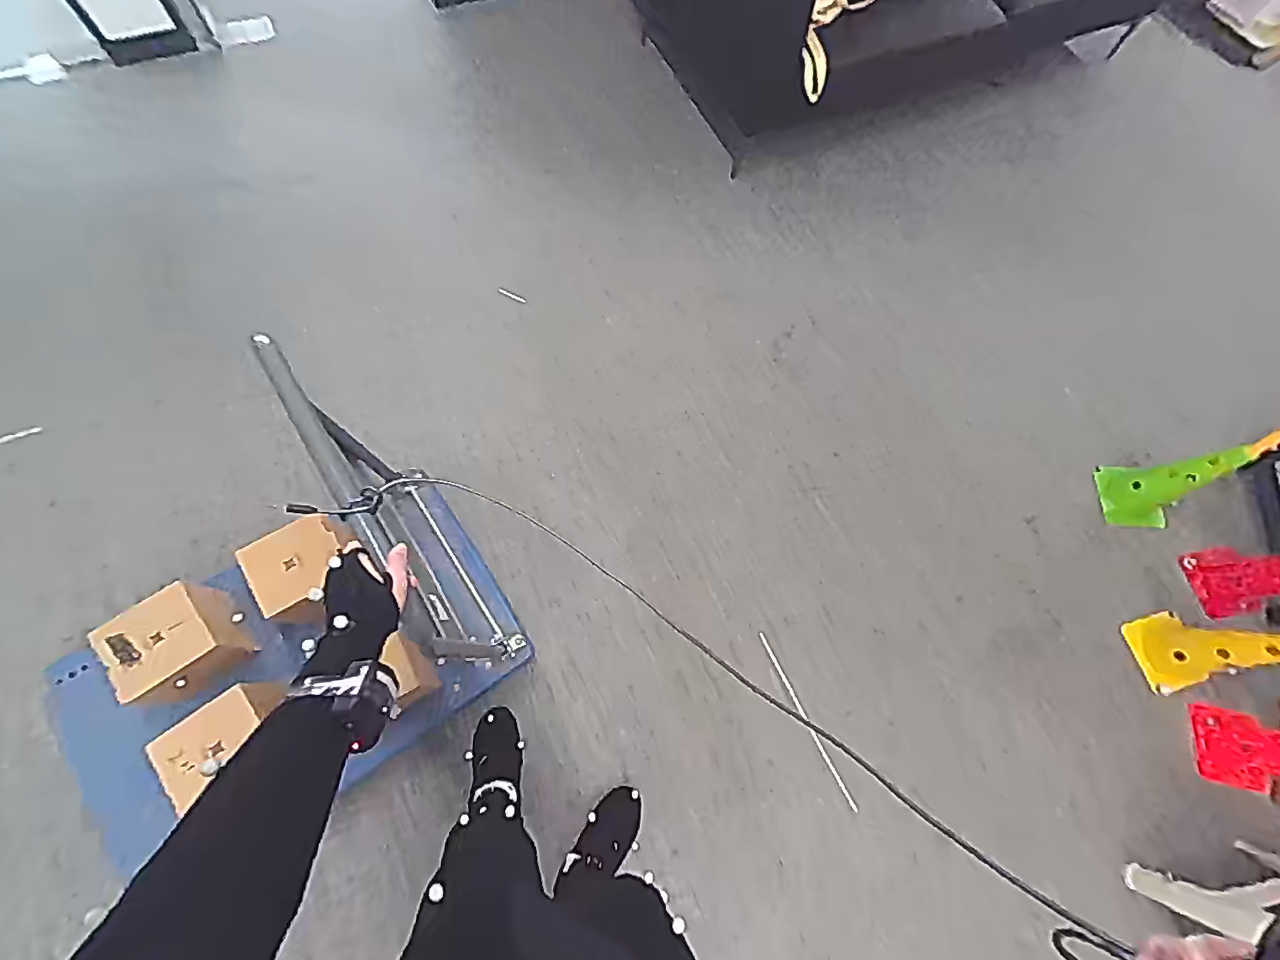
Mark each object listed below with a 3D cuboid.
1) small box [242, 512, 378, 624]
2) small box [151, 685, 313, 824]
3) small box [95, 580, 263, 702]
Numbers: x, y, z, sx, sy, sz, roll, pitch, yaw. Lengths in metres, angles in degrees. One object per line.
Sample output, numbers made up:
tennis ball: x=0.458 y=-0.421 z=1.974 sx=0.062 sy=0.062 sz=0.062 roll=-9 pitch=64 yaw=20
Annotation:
small box: x=-0.718 y=0.201 z=1.195 sx=0.179 sy=0.176 sz=0.168 roll=-30 pitch=75 yaw=-16
small box: x=-0.783 y=0.525 z=1.064 sx=0.179 sy=0.176 sz=0.168 roll=-35 pitch=76 yaw=-17
small box: x=-0.939 y=0.335 z=1.119 sx=0.179 sy=0.176 sz=0.168 roll=-36 pitch=78 yaw=-17
